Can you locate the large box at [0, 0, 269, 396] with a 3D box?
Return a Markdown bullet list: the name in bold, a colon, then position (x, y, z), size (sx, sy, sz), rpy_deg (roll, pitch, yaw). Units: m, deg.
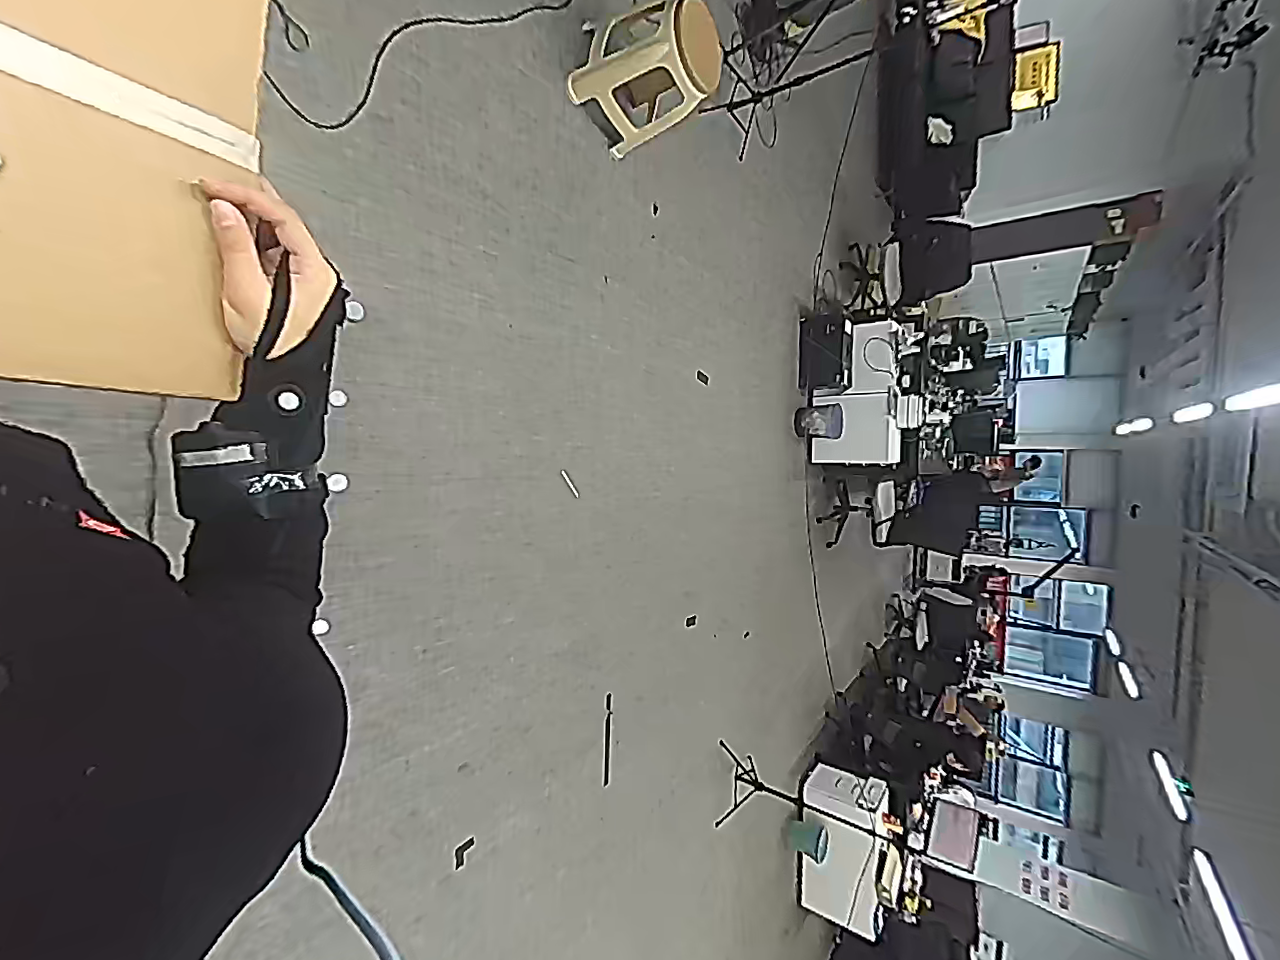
- **large box**: position (-0.487, -0.229, 0.282), size (0.408, 0.320, 0.320), rpy_deg (0, 101, -54)
